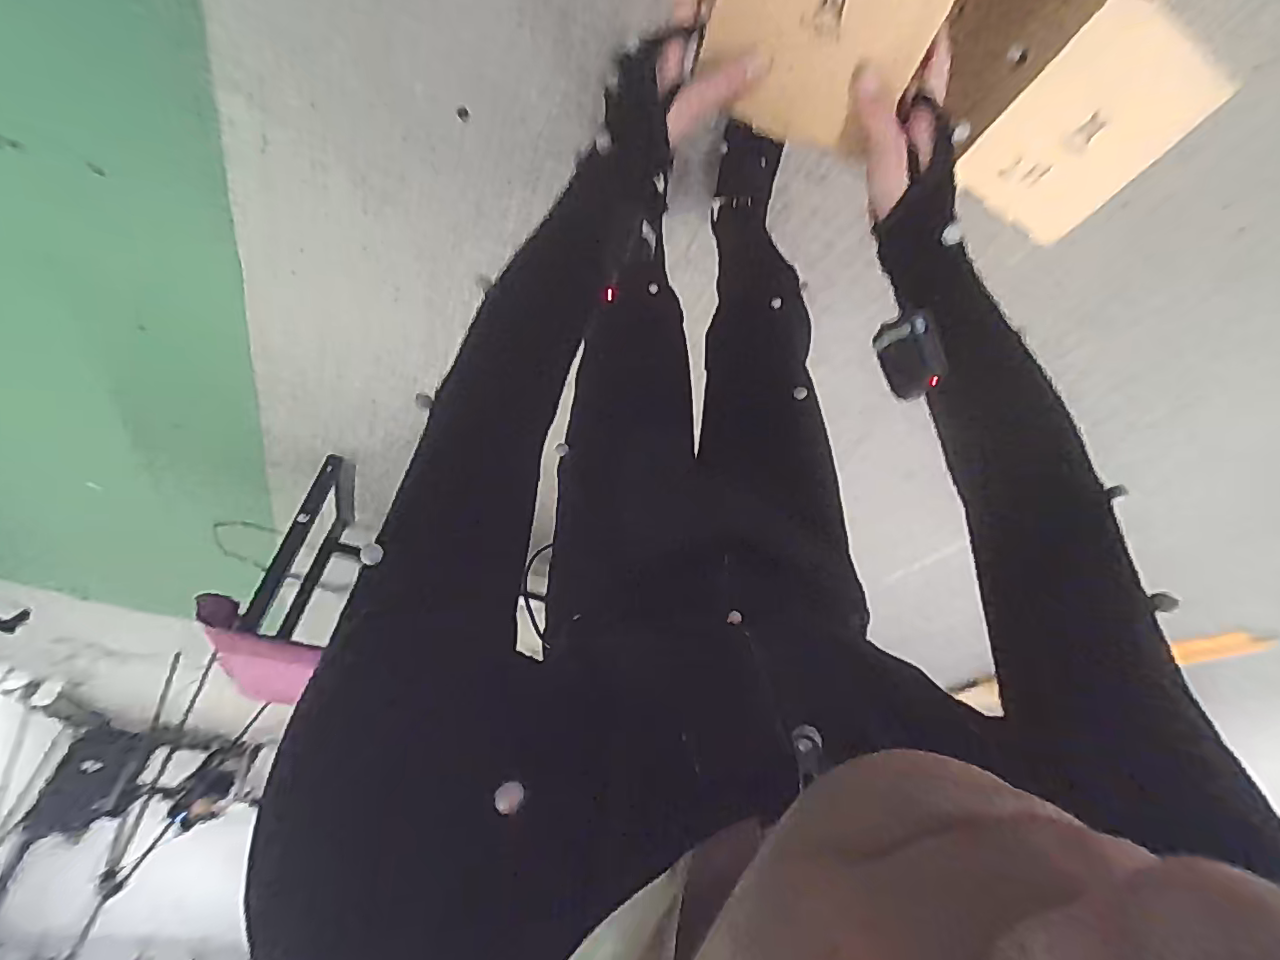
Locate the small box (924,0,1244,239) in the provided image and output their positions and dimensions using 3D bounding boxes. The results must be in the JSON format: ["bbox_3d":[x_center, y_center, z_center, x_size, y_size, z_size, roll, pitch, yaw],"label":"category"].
[{"bbox_3d":[0.434,-0.403,0.564,0.168,0.176,0.179,22,140,-18],"label":"small box"}]

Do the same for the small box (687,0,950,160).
[{"bbox_3d":[0.142,-0.408,0.442,0.168,0.176,0.179,13,141,-8],"label":"small box"}]
